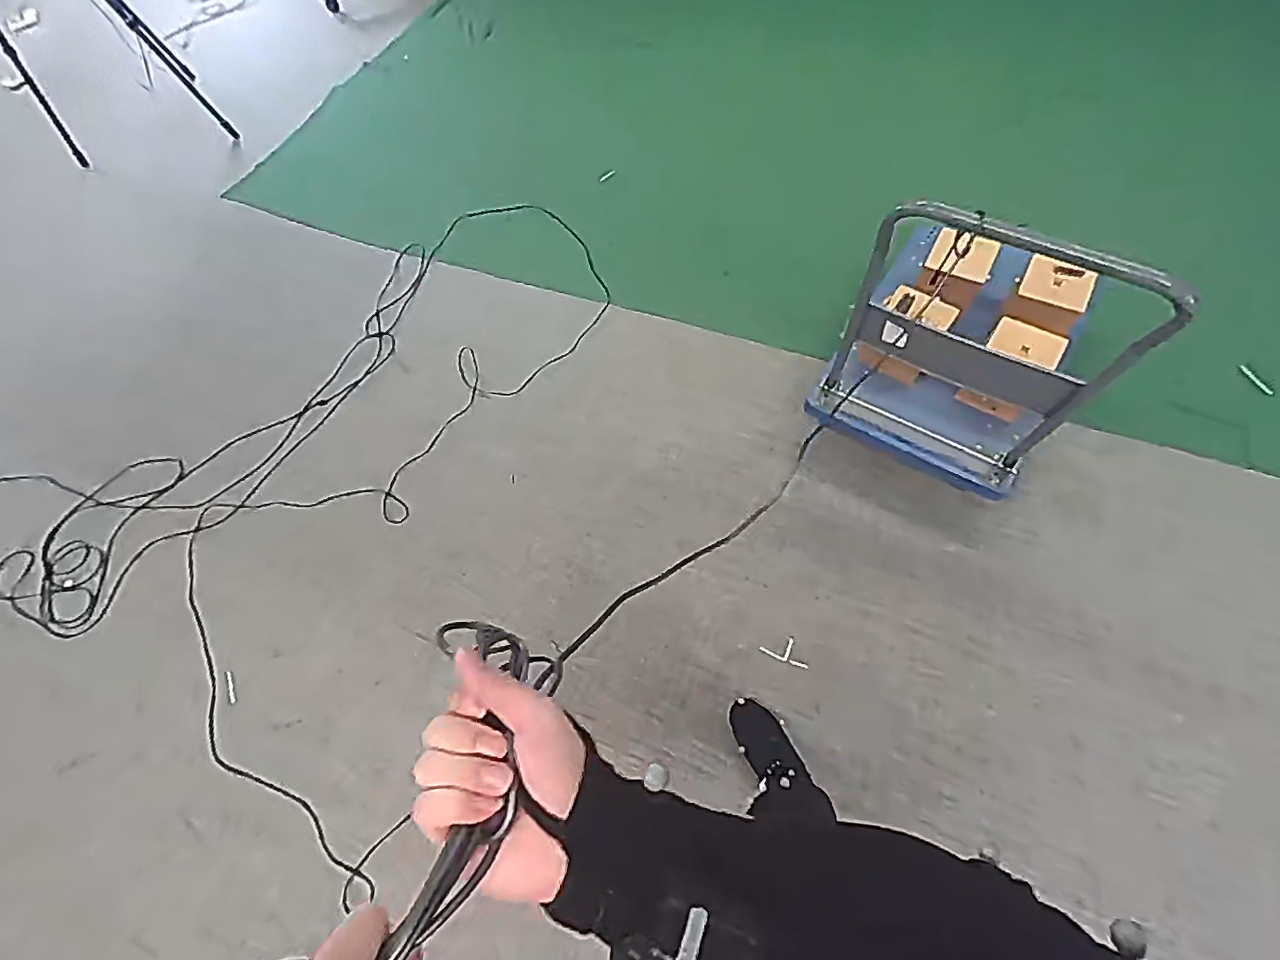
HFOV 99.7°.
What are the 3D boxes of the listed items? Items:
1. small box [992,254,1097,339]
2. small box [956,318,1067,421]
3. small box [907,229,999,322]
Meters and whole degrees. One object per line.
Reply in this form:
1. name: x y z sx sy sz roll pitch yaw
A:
1. small box: 1.142 -0.500 1.538 0.168 0.176 0.179 26 71 19
2. small box: 0.989 -0.294 1.455 0.168 0.176 0.179 31 71 20
3. small box: 0.926 -0.605 1.616 0.168 0.176 0.179 27 70 17
